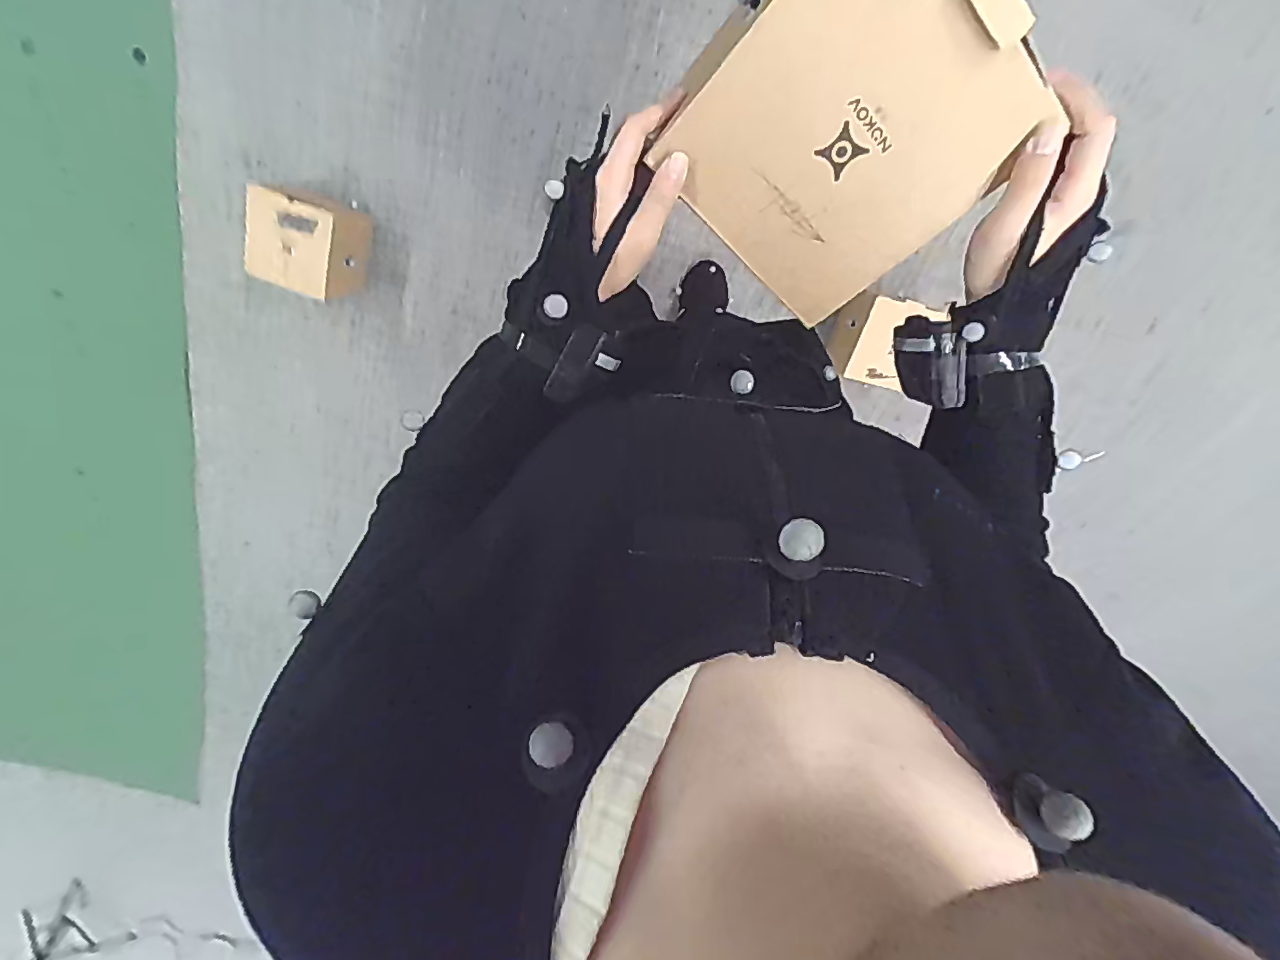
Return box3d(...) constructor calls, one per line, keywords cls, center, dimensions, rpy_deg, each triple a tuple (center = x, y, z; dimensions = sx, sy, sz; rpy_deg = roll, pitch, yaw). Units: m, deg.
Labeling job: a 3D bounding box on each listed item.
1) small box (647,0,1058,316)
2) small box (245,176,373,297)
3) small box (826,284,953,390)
box3d(cls="small box", center=(0.126, -0.259, 0.371), dimensions=(0.168, 0.176, 0.179), rpy_deg=(34, 132, -24))
box3d(cls="small box", center=(-0.685, -0.509, 1.133), dimensions=(0.168, 0.176, 0.179), rpy_deg=(20, 116, -7))
box3d(cls="small box", center=(0.531, -0.320, 1.184), dimensions=(0.168, 0.176, 0.179), rpy_deg=(13, 115, -5))
